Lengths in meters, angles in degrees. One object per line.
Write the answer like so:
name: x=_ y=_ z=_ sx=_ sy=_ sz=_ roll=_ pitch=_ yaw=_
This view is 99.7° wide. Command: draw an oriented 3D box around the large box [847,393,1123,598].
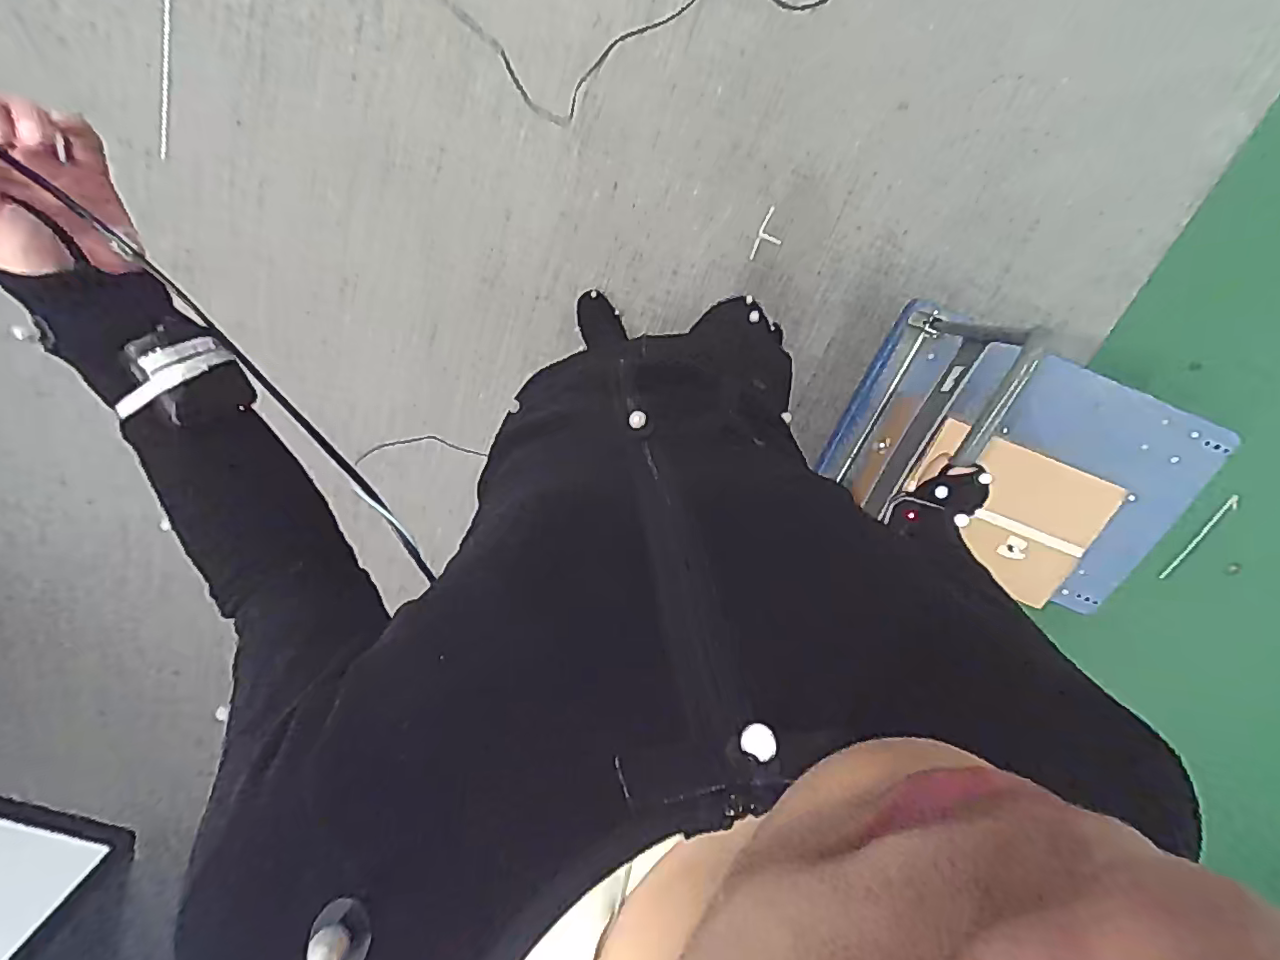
large box: x=0.785 y=0.018 z=1.309 sx=0.408 sy=0.320 sz=0.320 roll=22 pitch=111 yaw=0
